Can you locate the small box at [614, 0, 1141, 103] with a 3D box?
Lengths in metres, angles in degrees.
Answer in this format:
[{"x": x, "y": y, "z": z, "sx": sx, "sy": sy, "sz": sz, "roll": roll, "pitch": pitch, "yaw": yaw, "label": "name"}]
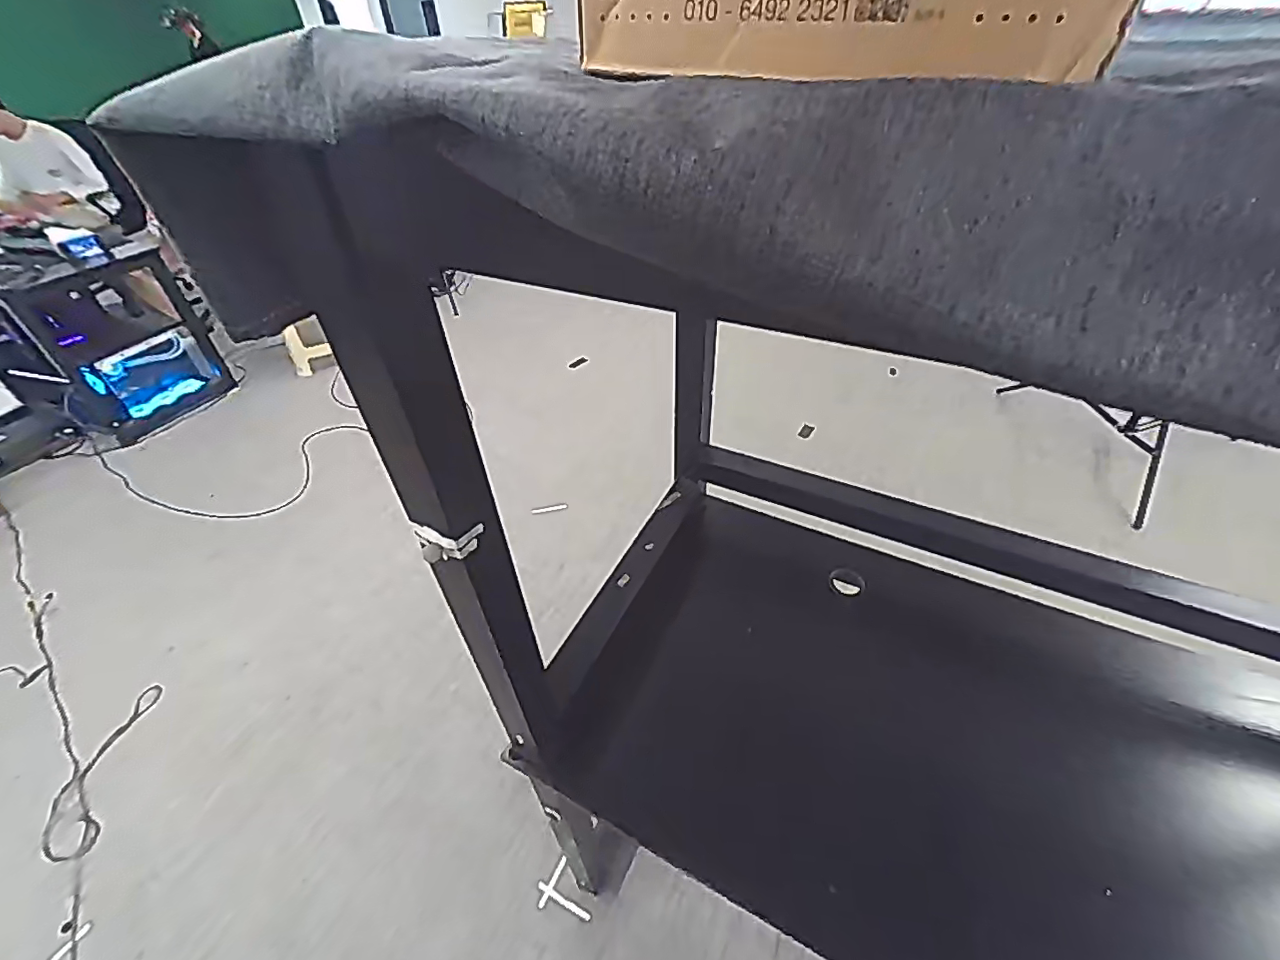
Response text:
[{"x": 0.094, "y": -0.240, "z": 0.179, "sx": 0.168, "sy": 0.176, "sz": 0.179, "roll": 18, "pitch": 44, "yaw": 20, "label": "small box"}]
